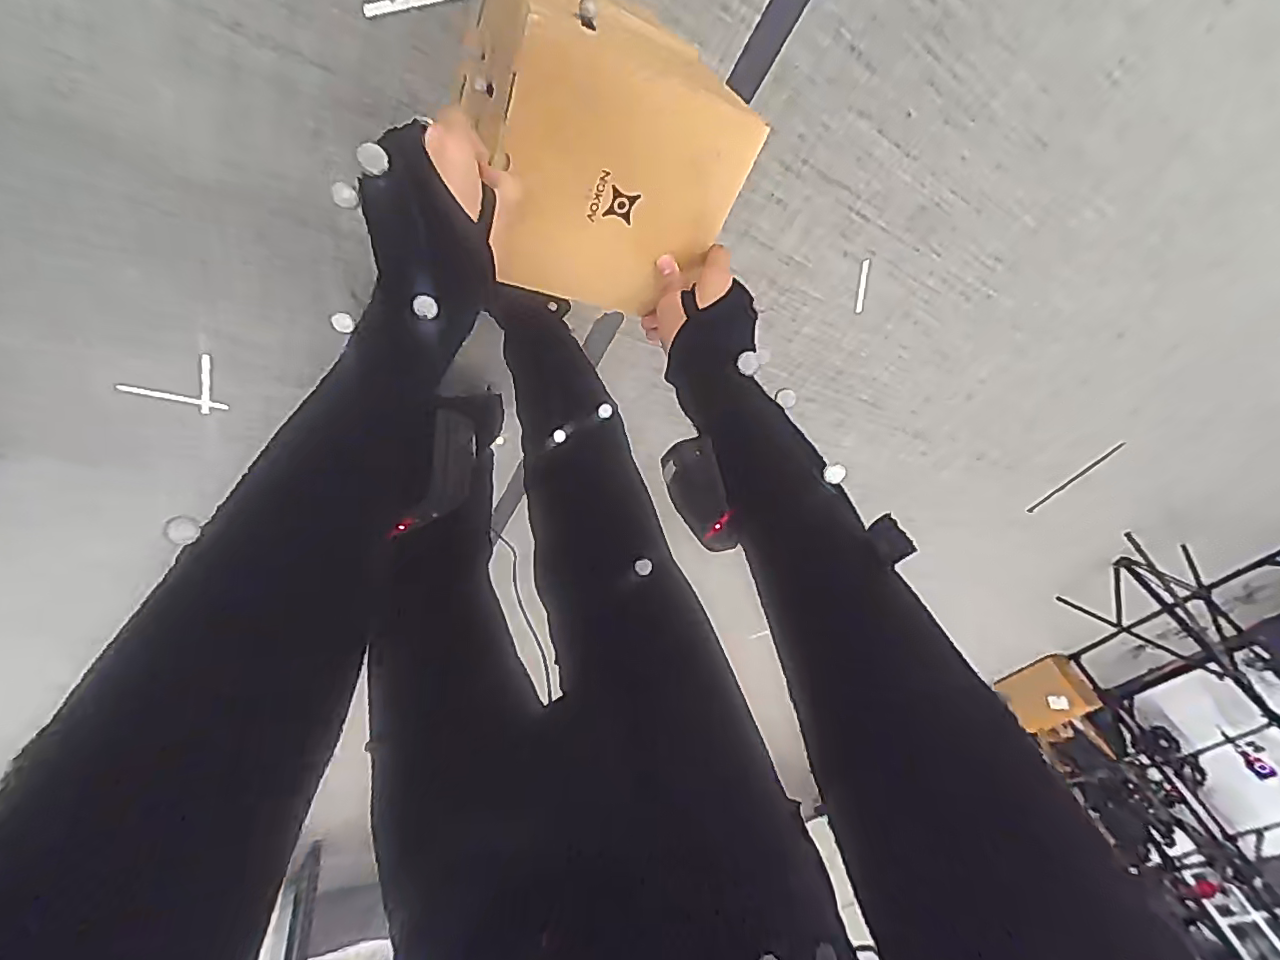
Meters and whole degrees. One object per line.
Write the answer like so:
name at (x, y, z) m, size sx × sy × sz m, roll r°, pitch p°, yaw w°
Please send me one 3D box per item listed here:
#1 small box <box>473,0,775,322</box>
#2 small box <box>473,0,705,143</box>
small box at (-0.030, -0.260, 0.437) m, size 0.179 × 0.176 × 0.168 m, roll 7°, pitch 136°, yaw -25°
small box at (-0.066, -0.385, 0.535) m, size 0.168 × 0.176 × 0.179 m, roll 8°, pitch 135°, yaw -26°
